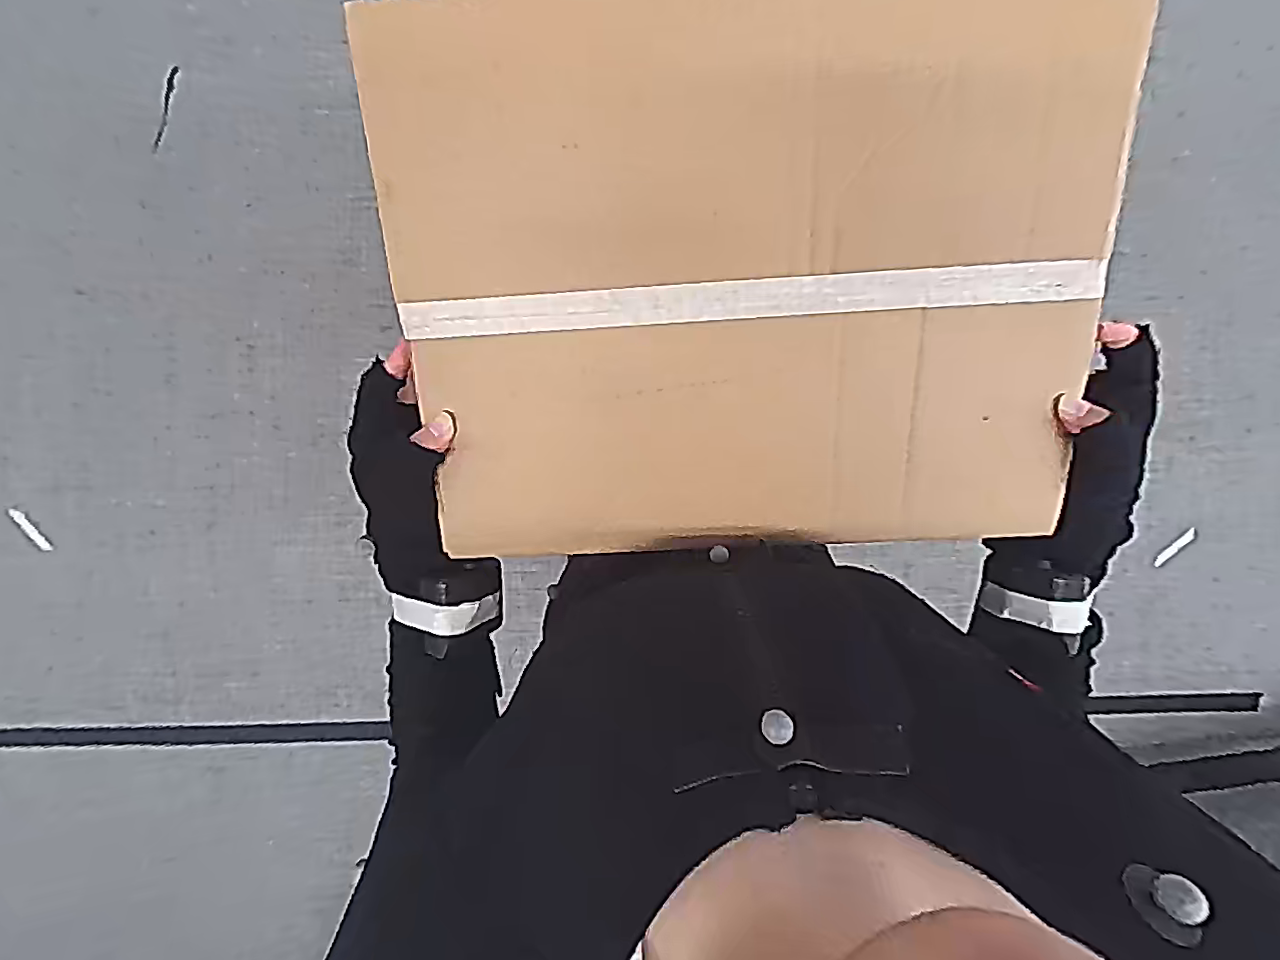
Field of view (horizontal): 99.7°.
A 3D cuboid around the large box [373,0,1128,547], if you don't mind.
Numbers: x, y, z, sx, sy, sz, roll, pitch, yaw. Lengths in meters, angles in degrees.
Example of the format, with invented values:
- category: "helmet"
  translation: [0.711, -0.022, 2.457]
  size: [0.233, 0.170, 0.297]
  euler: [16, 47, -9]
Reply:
- category: "large box"
  translation: [0.062, -0.153, 0.467]
  size: [0.408, 0.320, 0.320]
  euler: [-2, 108, 2]
